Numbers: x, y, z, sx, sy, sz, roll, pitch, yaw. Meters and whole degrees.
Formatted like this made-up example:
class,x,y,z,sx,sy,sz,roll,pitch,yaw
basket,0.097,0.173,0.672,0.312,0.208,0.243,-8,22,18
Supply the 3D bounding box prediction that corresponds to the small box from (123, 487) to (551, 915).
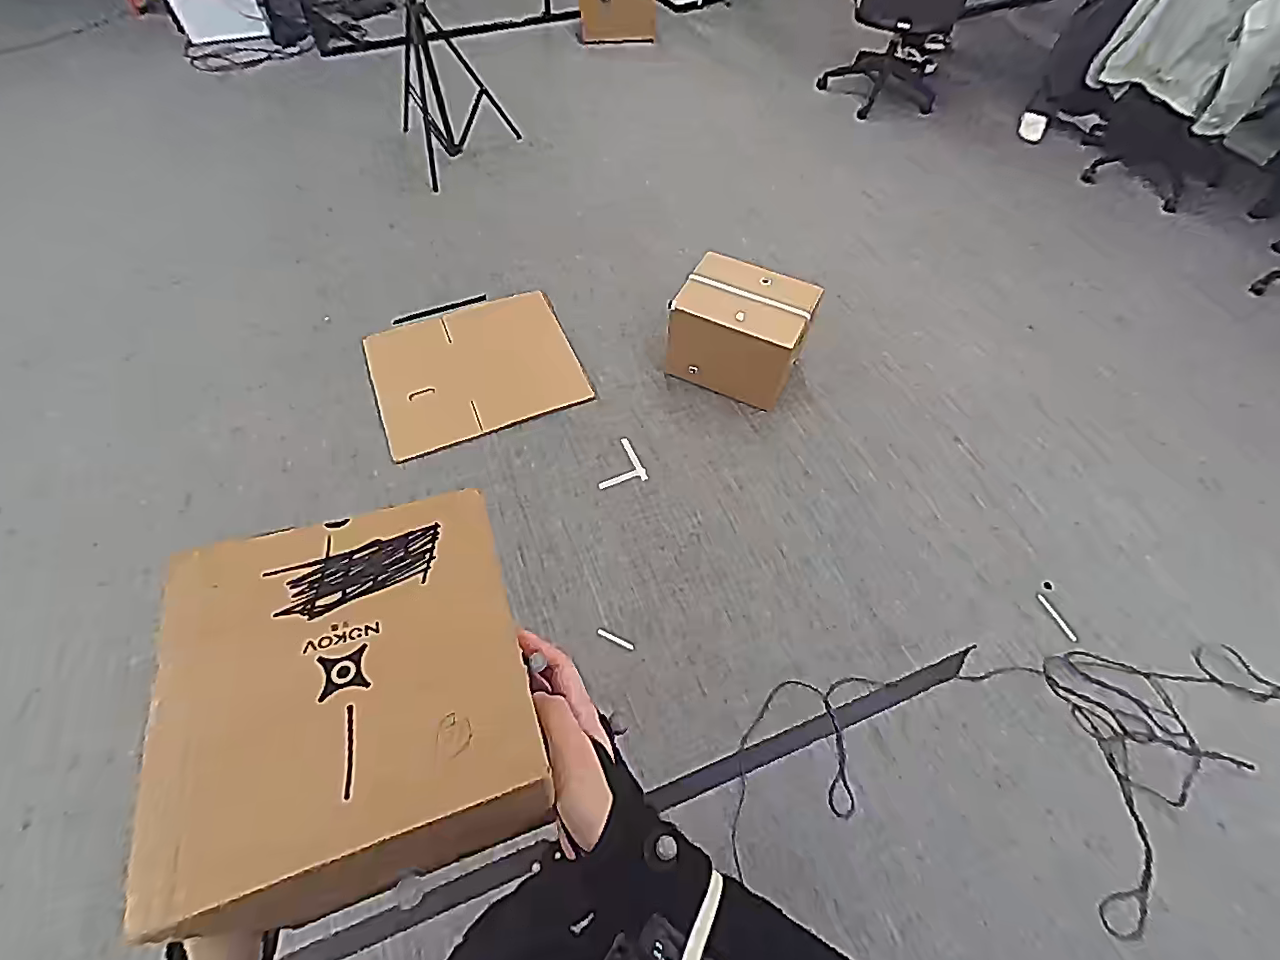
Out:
class,x,y,z,sx,sy,sz,roll,pitch,yaw
small box,-0.156,0.135,0.336,0.168,0.176,0.179,-14,55,-17
